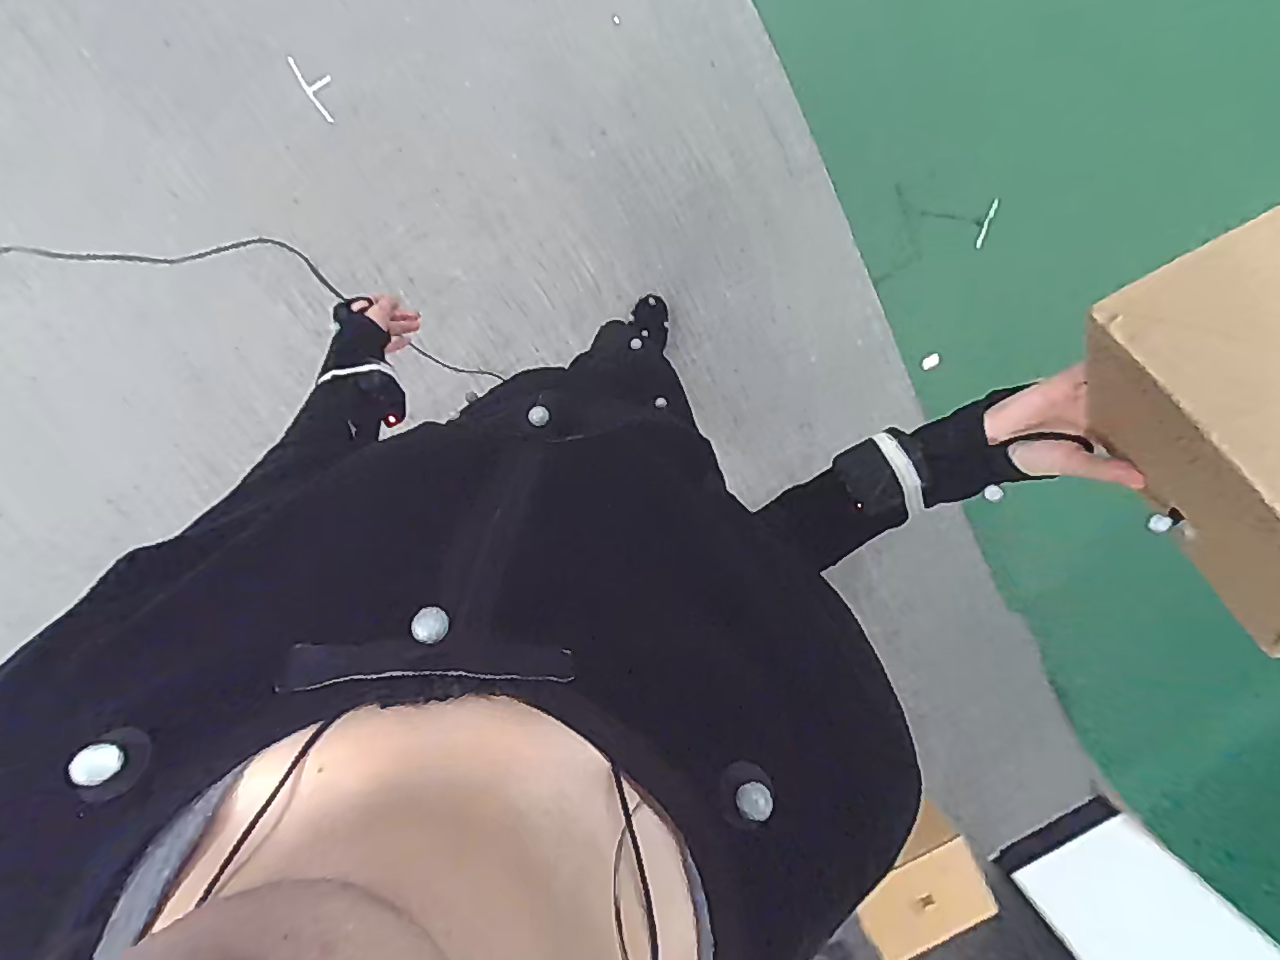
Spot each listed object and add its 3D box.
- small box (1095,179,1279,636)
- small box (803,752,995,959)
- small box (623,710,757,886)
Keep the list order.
[{"bbox_3d":[0.360,-0.041,0.262,0.168,0.179,0.176,-31,143,26],"label":"small box"},{"bbox_3d":[0.379,0.555,0.816,0.179,0.176,0.168,-29,105,2],"label":"small box"},{"bbox_3d":[0.079,0.549,0.951,0.179,0.176,0.168,-25,105,1],"label":"small box"}]
